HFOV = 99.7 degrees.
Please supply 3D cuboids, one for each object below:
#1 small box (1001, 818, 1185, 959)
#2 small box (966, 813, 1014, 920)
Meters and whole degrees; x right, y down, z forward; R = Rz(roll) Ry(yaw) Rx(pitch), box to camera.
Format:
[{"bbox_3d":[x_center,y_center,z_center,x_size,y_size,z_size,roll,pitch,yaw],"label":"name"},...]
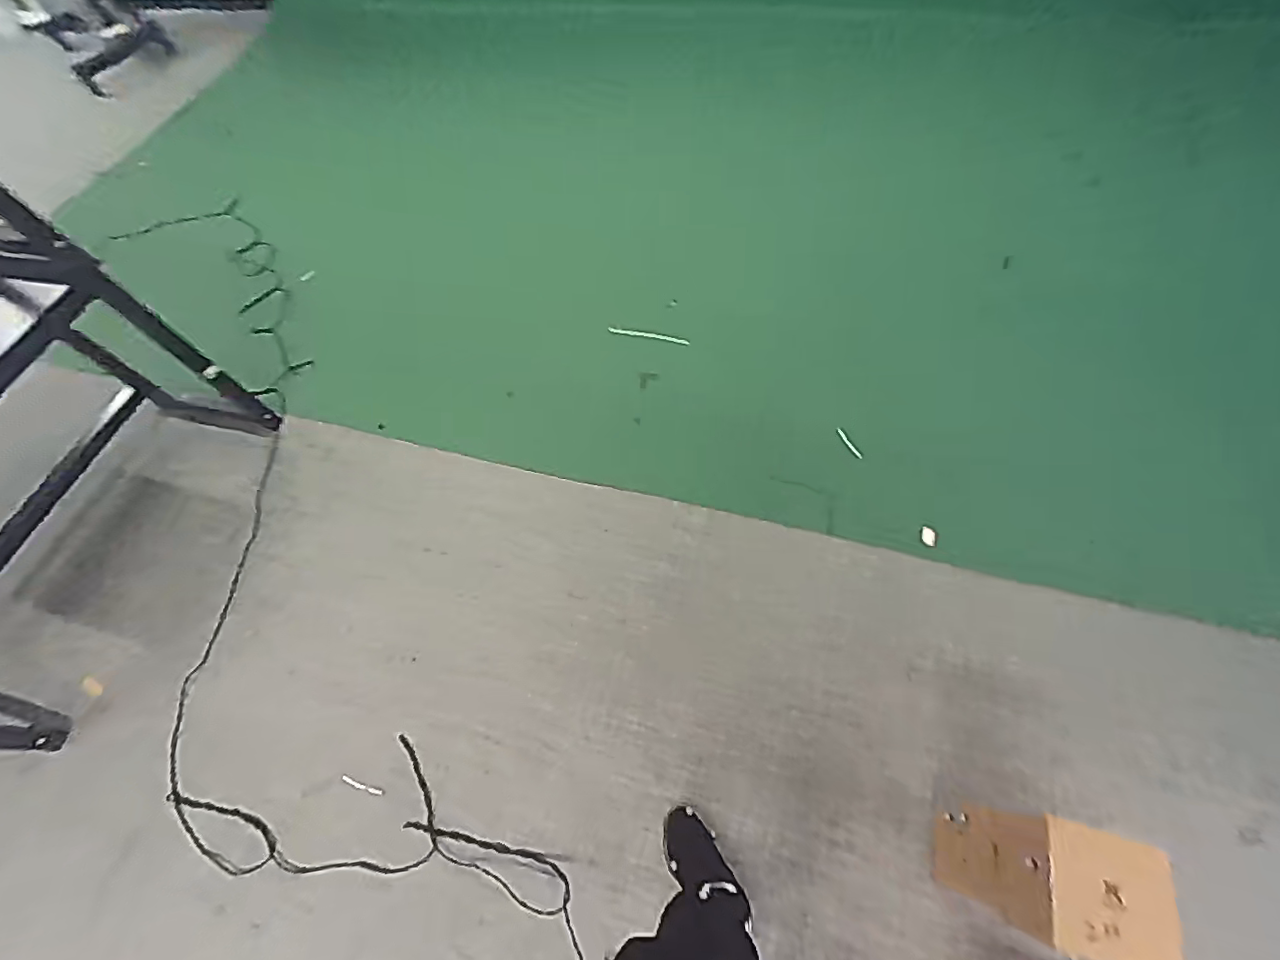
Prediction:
[{"bbox_3d":[0.702,0.660,0.860,0.168,0.176,0.179,11,63,13],"label":"small box"},{"bbox_3d":[0.731,0.737,1.004,0.179,0.176,0.168,11,63,11],"label":"small box"}]
